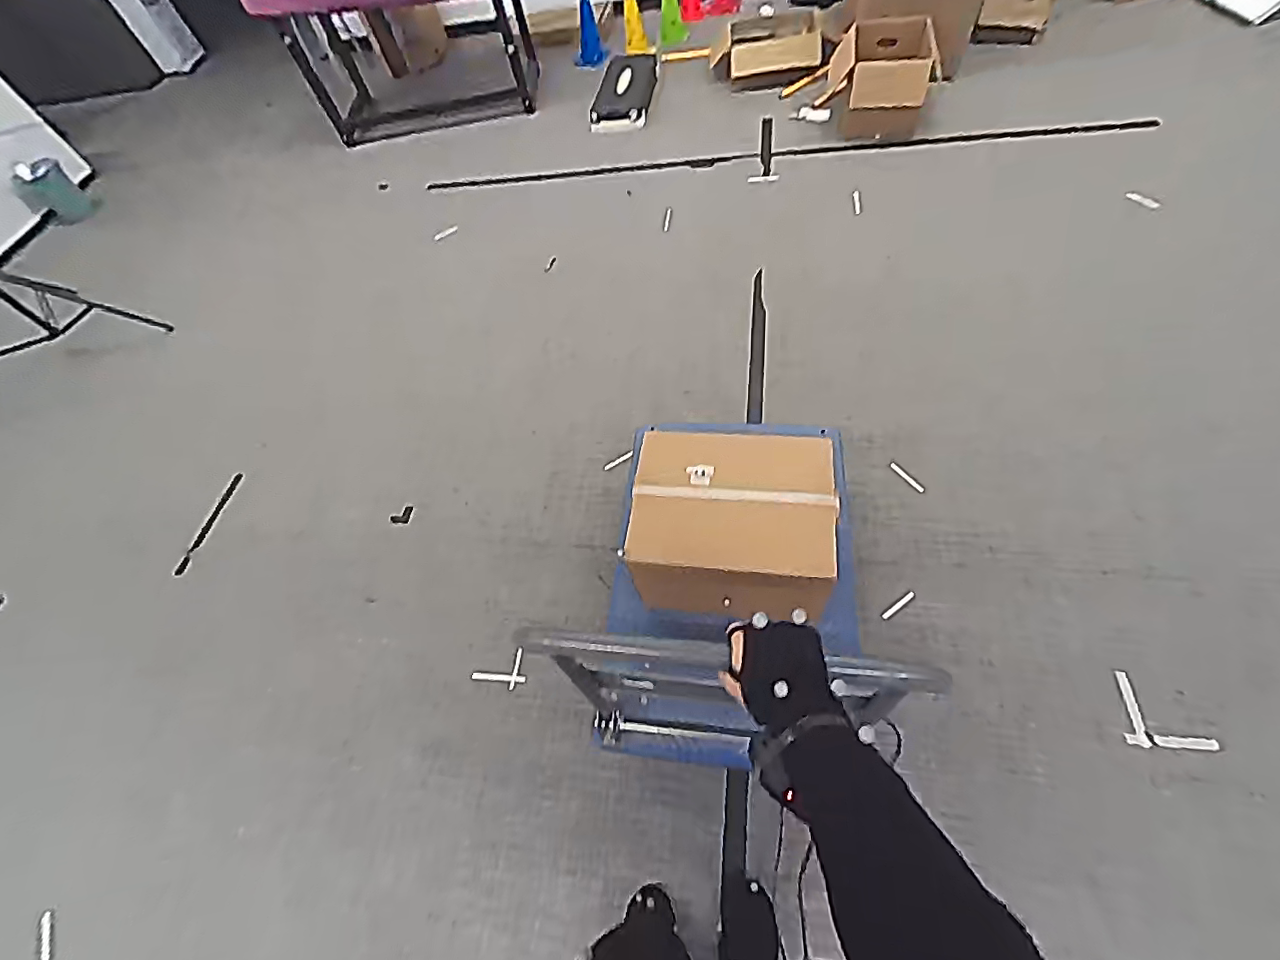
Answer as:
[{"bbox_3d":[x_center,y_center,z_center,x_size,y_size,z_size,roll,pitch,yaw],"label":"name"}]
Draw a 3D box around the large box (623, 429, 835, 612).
[{"bbox_3d":[0.206,0.097,1.219,0.408,0.320,0.320,2,59,13],"label":"large box"}]
